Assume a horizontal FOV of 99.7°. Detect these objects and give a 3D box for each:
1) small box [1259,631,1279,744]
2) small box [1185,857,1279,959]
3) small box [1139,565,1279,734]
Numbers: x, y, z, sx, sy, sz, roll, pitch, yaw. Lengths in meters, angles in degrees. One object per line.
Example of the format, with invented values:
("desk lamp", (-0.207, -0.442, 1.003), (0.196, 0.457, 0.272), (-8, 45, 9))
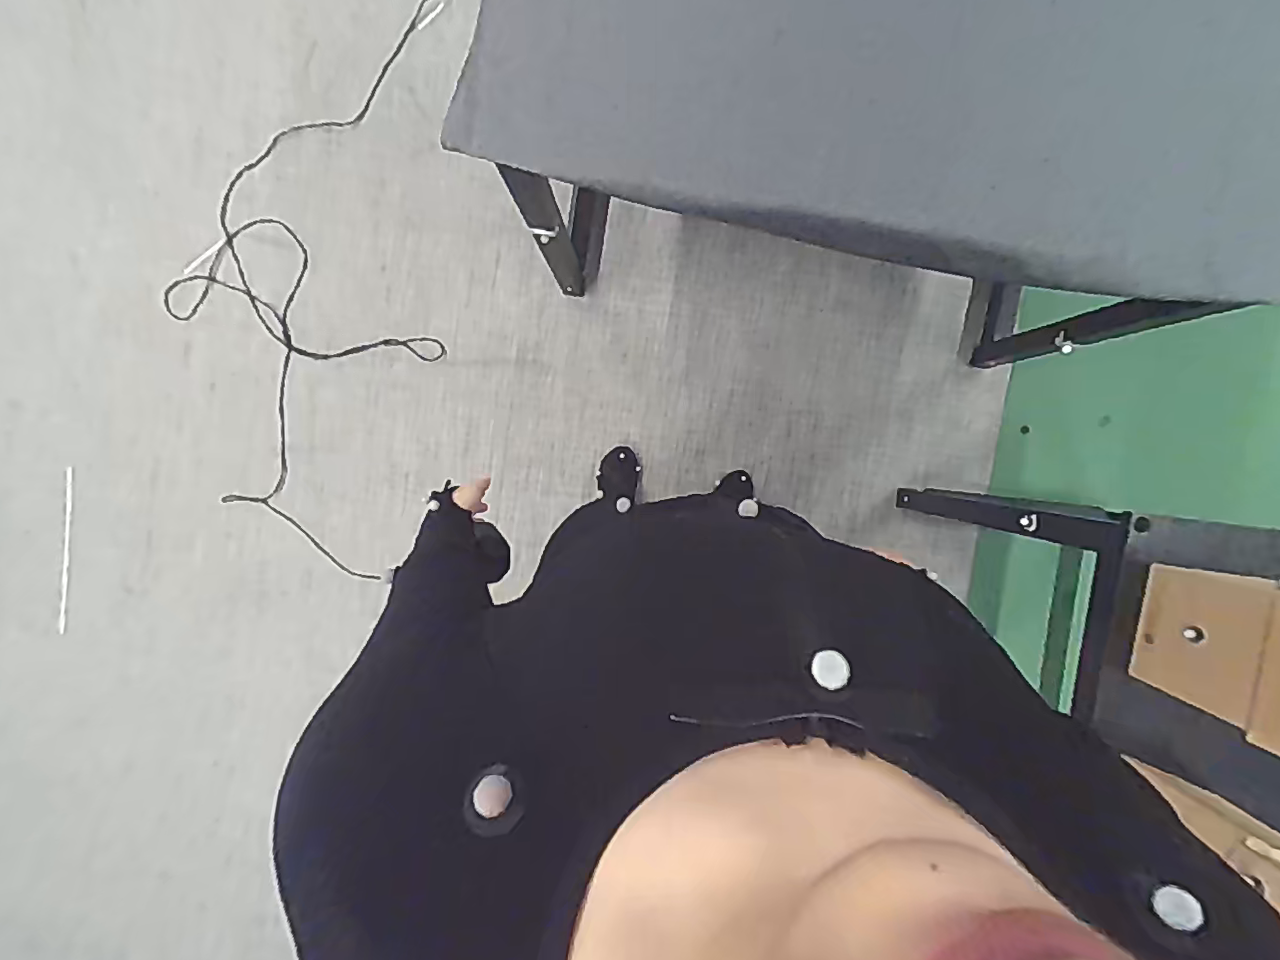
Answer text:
("small box", (0.772, 0.224, 0.516), (0.168, 0.176, 0.179), (8, 94, 1))
("small box", (0.723, 0.525, 0.535), (0.179, 0.176, 0.168), (26, 95, -1))
("small box", (0.792, 0.210, 0.677), (0.179, 0.176, 0.168), (8, 95, 0))
